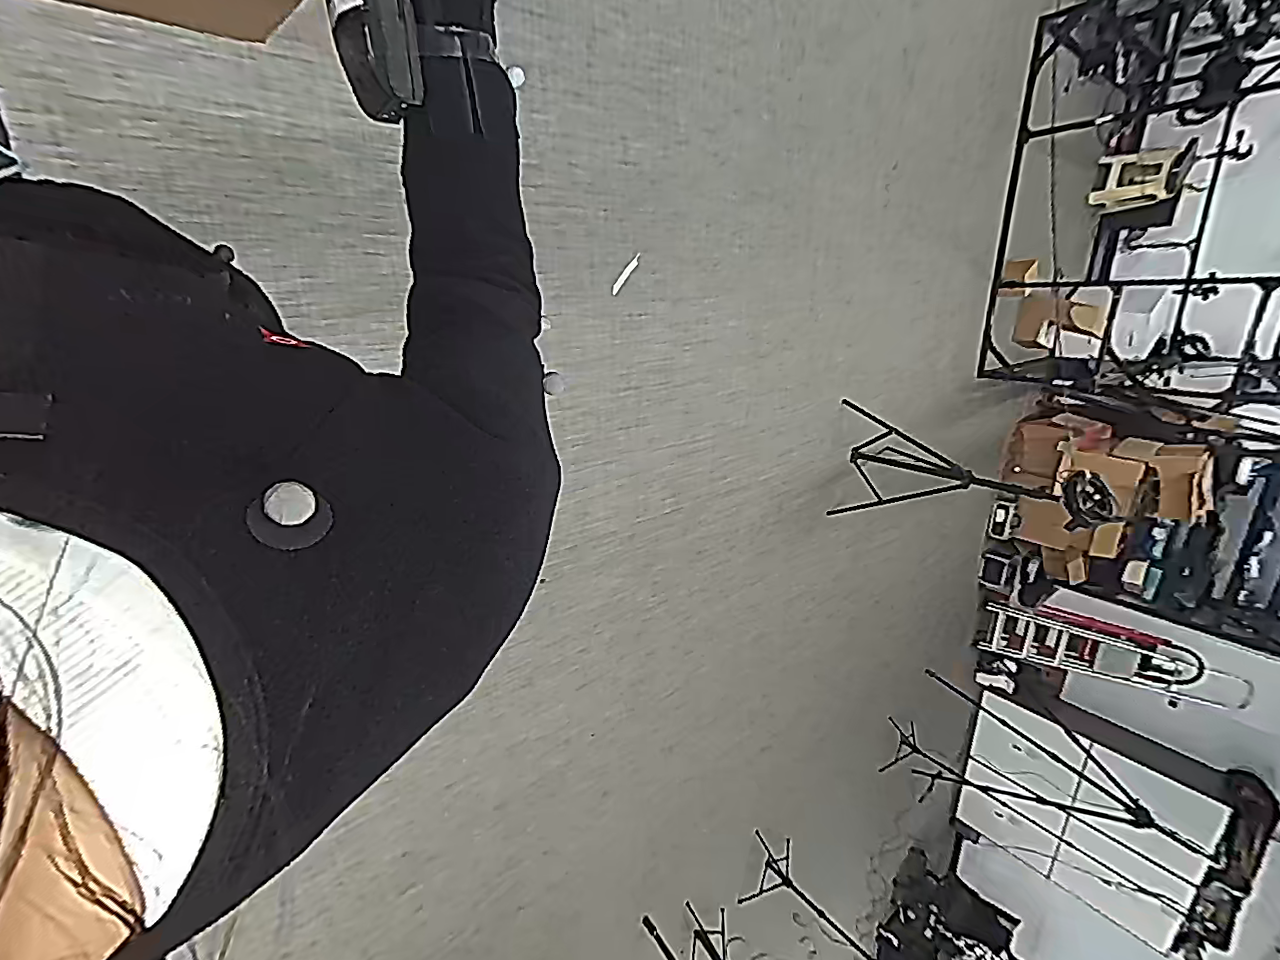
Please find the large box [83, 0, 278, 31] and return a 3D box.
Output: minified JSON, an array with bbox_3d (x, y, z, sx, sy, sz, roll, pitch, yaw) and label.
[{"bbox_3d":[-0.393,-0.427,0.200,0.408,0.320,0.320,-17,125,-36],"label":"large box"}]
